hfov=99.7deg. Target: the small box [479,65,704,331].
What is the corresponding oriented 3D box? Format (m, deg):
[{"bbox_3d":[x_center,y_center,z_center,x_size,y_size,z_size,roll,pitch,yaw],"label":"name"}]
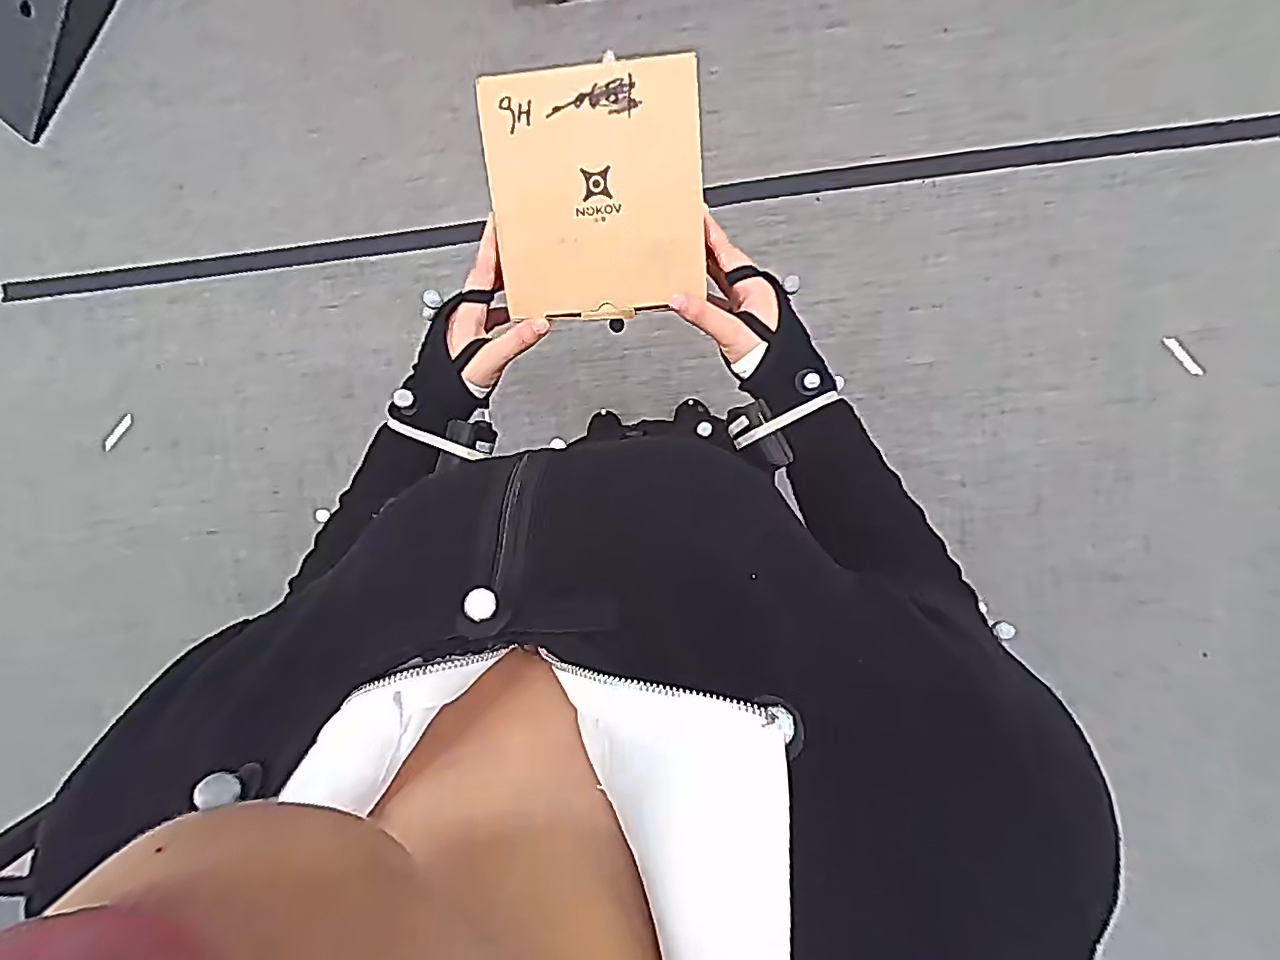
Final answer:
[{"bbox_3d":[-0.028,-0.238,0.497,0.168,0.176,0.179,-4,108,4],"label":"small box"}]
